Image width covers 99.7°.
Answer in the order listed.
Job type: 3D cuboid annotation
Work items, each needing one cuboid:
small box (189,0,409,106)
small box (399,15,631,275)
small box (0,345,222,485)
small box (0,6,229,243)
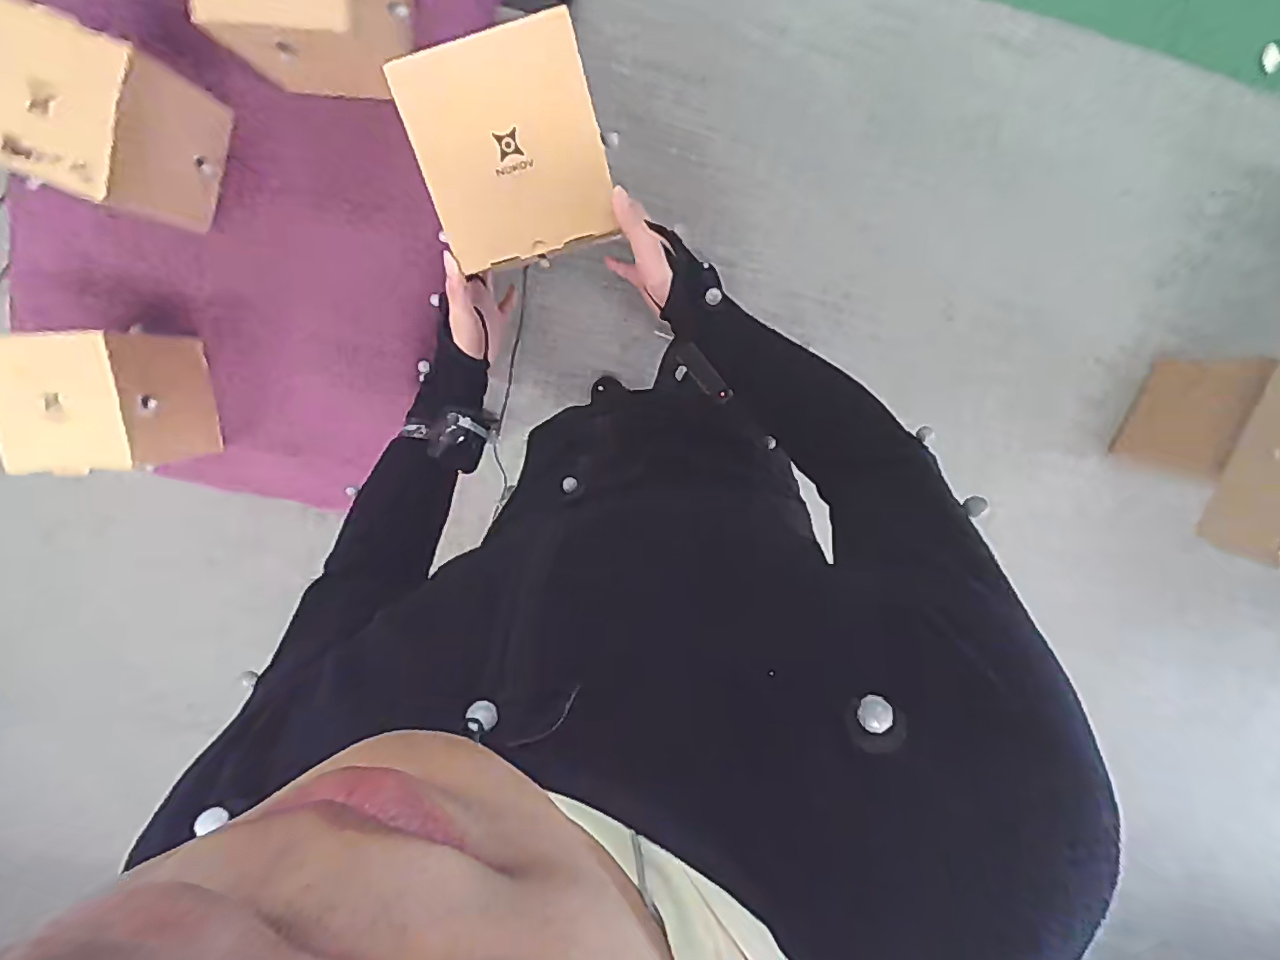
[{"bbox_3d":[-0.405,-0.588,0.662,0.179,0.176,0.168,4,103,0],"label":"small box"},{"bbox_3d":[-0.112,-0.323,0.559,0.168,0.176,0.179,-15,113,3],"label":"small box"},{"bbox_3d":[-0.740,-0.098,0.765,0.168,0.176,0.179,-3,102,-2],"label":"small box"},{"bbox_3d":[-0.676,-0.435,0.693,0.168,0.176,0.179,20,101,-5],"label":"small box"}]
